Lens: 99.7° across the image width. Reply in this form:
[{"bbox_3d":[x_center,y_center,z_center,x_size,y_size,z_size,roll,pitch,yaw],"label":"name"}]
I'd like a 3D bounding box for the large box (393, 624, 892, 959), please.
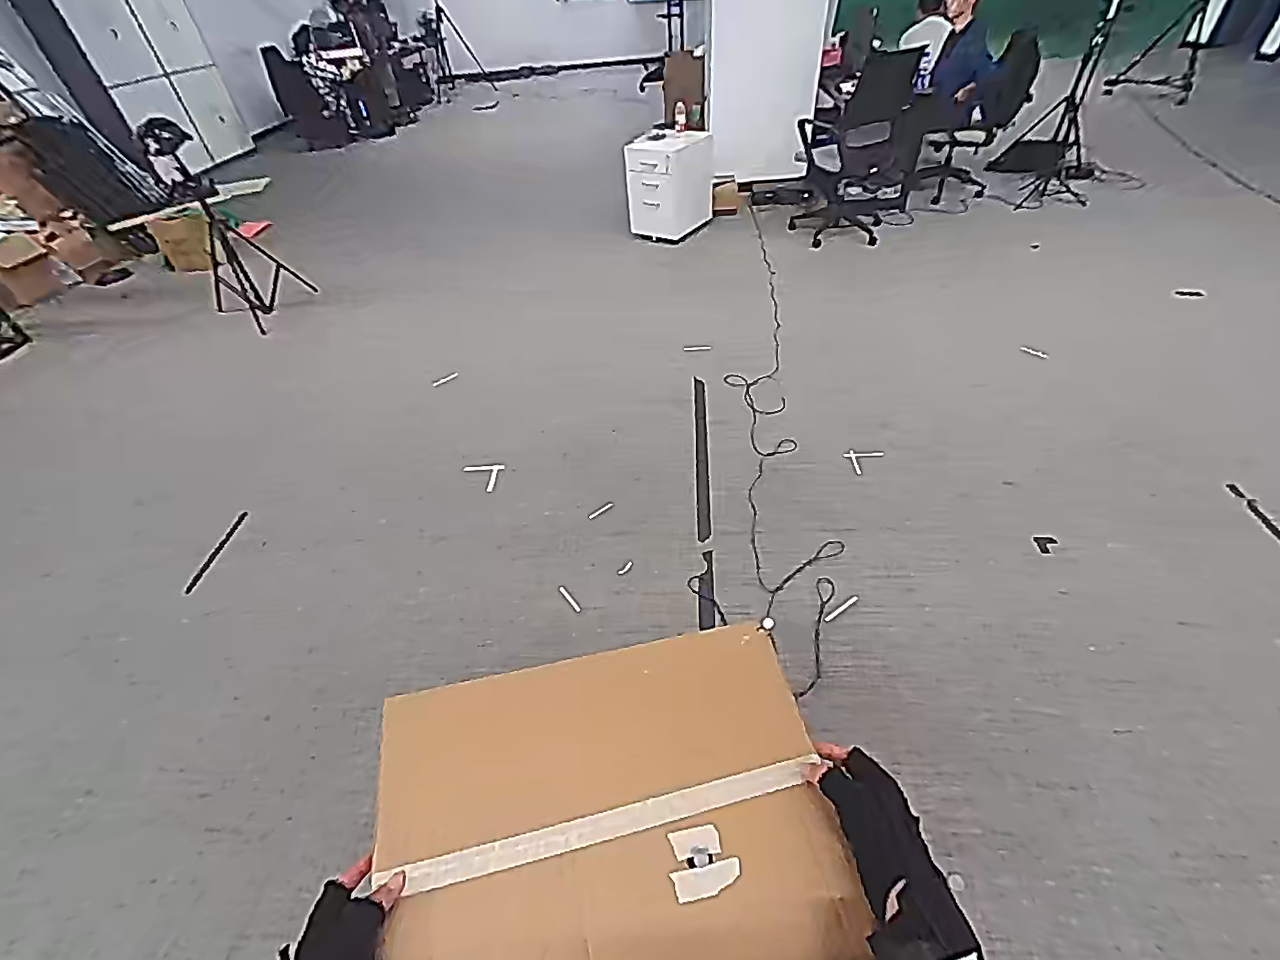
[{"bbox_3d":[-0.024,0.408,0.610,0.408,0.320,0.320,-8,51,-10],"label":"large box"}]
